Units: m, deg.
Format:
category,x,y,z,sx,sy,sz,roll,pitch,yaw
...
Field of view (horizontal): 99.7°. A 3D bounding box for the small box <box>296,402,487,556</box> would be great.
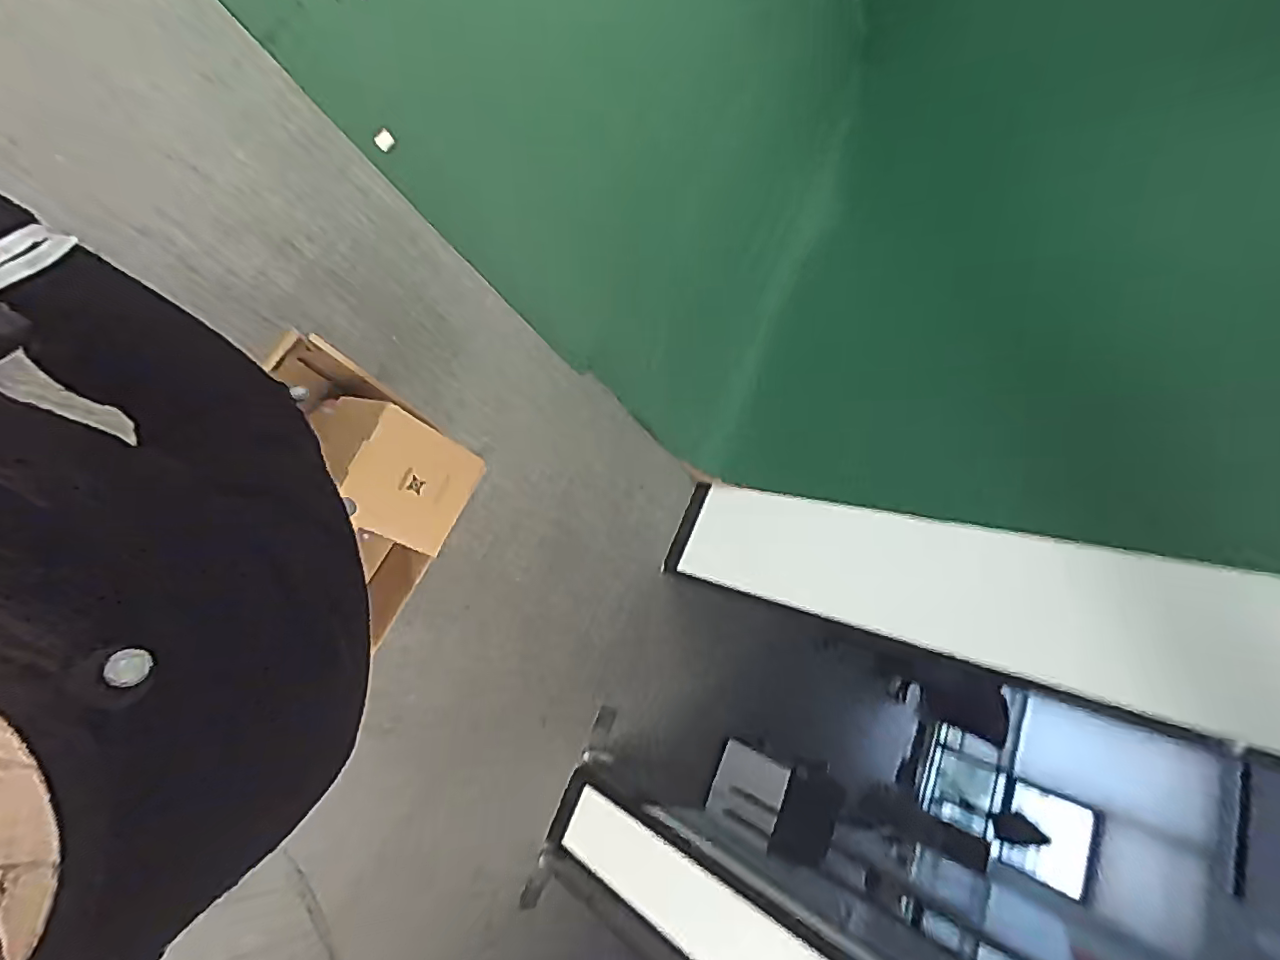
category,x,y,z,sx,sy,sz,roll,pitch,yaw
small box,-0.376,-0.005,0.817,0.179,0.176,0.168,40,70,-46
